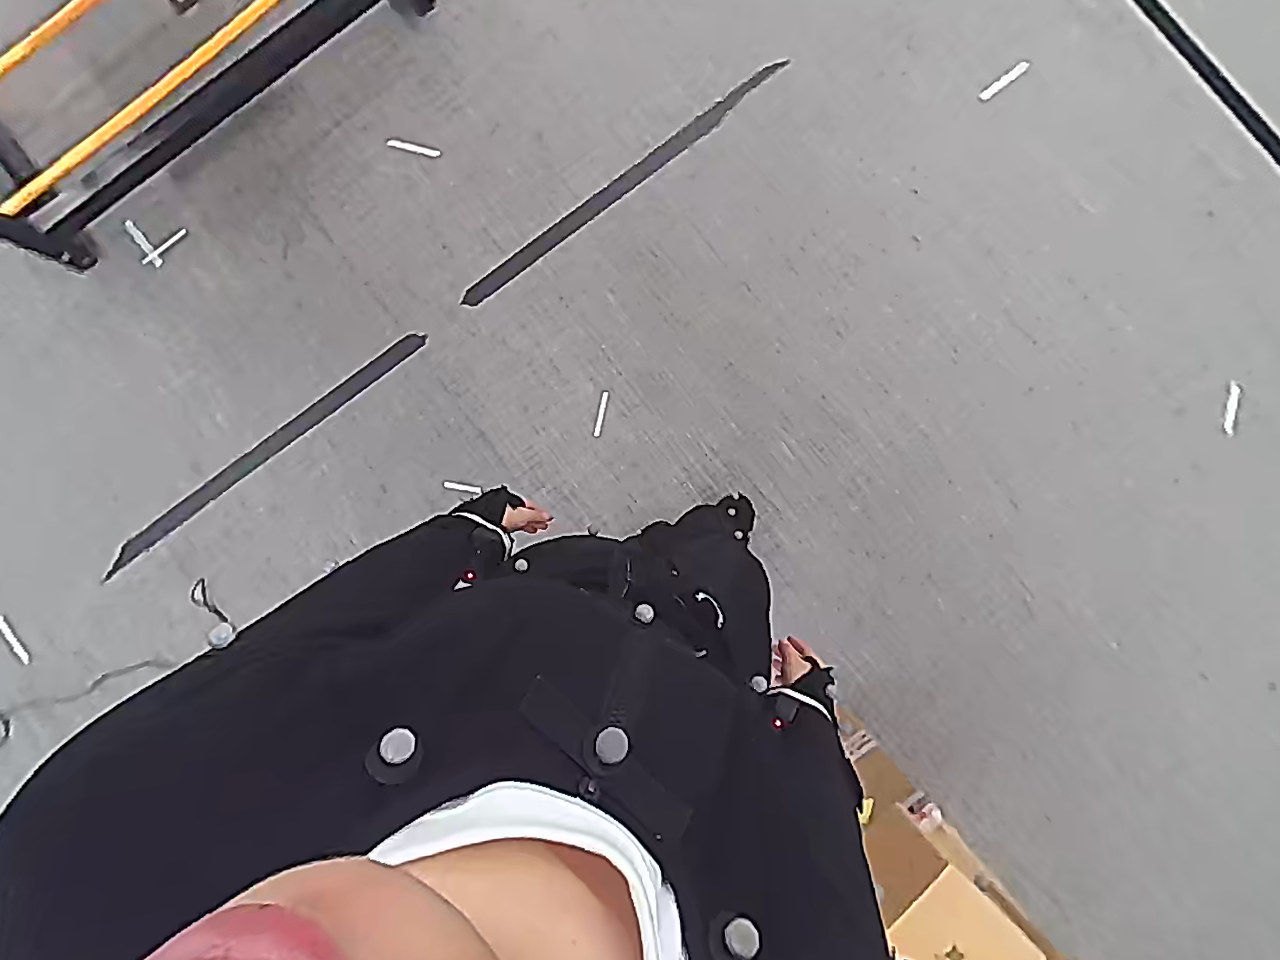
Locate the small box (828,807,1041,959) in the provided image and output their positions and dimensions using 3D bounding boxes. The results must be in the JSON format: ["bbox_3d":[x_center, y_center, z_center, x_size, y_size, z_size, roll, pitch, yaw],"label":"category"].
[{"bbox_3d":[0.403,0.623,0.778,0.168,0.176,0.179,44,88,5],"label":"small box"}]
